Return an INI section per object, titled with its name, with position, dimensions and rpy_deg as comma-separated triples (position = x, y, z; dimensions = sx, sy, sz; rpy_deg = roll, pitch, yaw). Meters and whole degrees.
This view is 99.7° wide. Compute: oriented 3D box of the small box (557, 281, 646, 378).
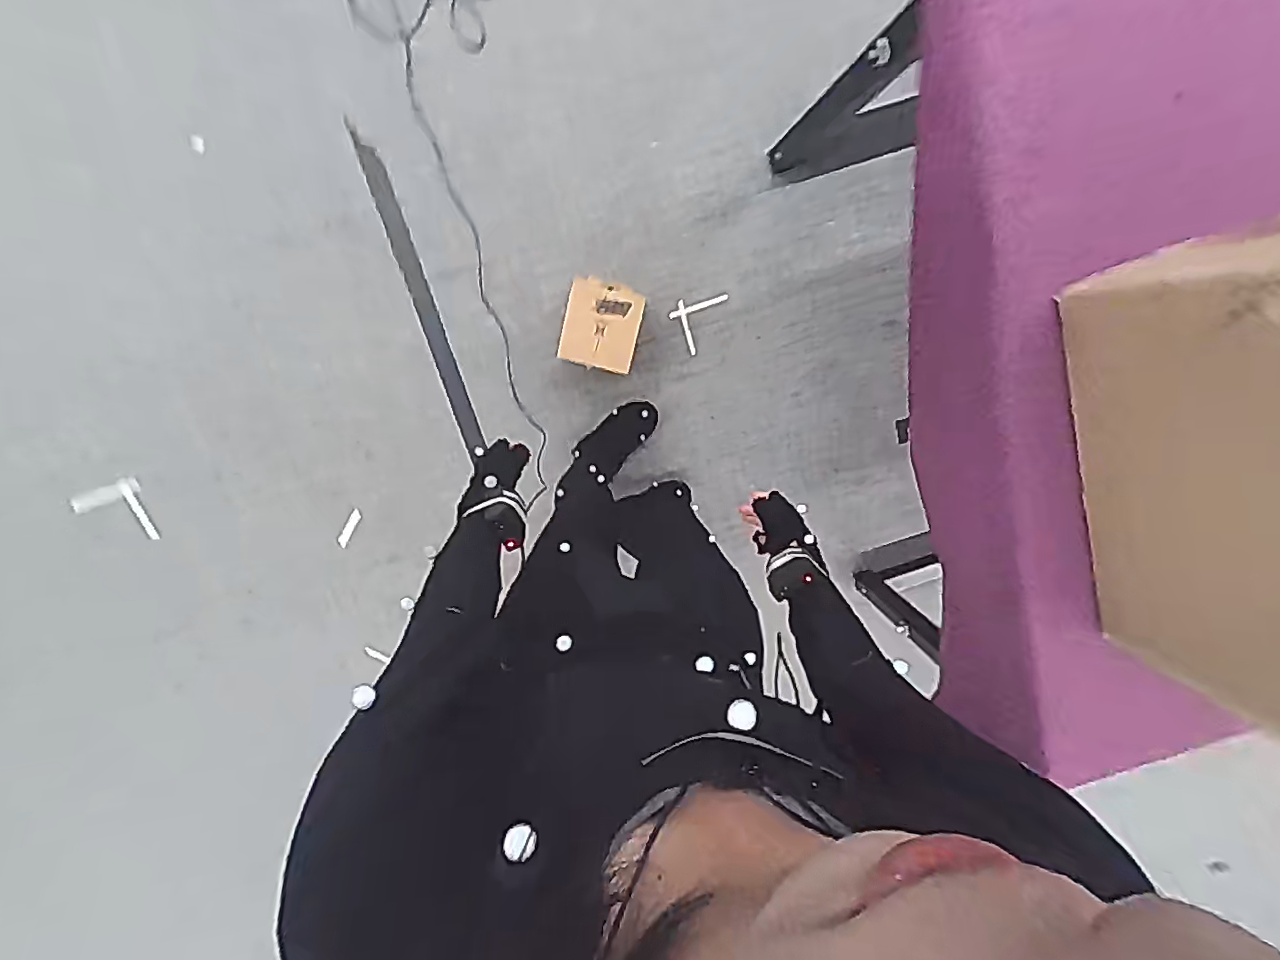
[small box]
position = -0.092, -0.348, 1.263
dimensions = 0.168, 0.176, 0.179
rpy_deg = 13, 103, -8
